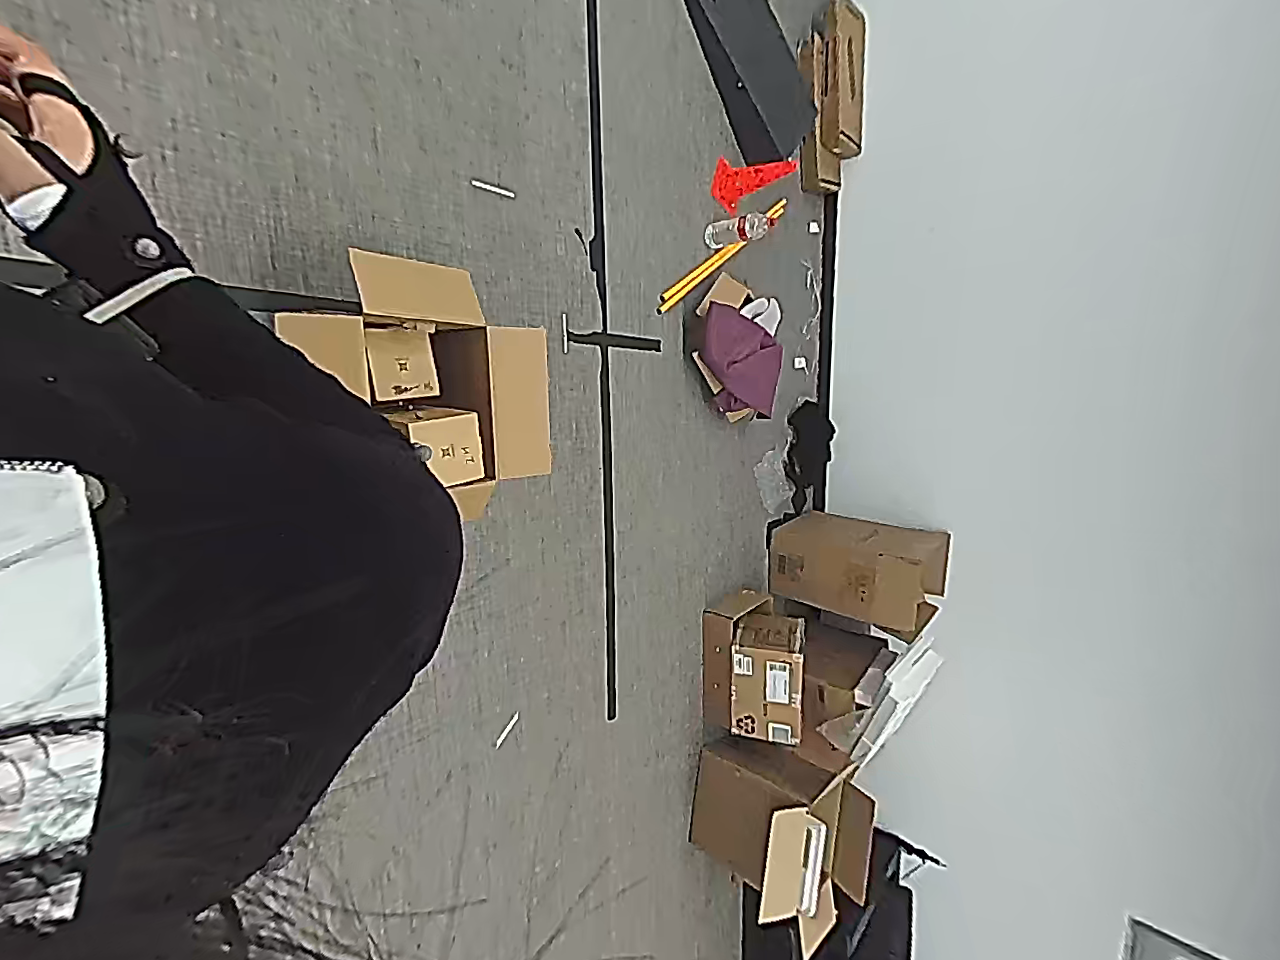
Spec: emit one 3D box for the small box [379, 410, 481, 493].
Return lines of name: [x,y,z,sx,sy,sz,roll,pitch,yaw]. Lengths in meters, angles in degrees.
small box: [-0.518,-0.077,1.324,0.179,0.176,0.168,-19,113,-45]
